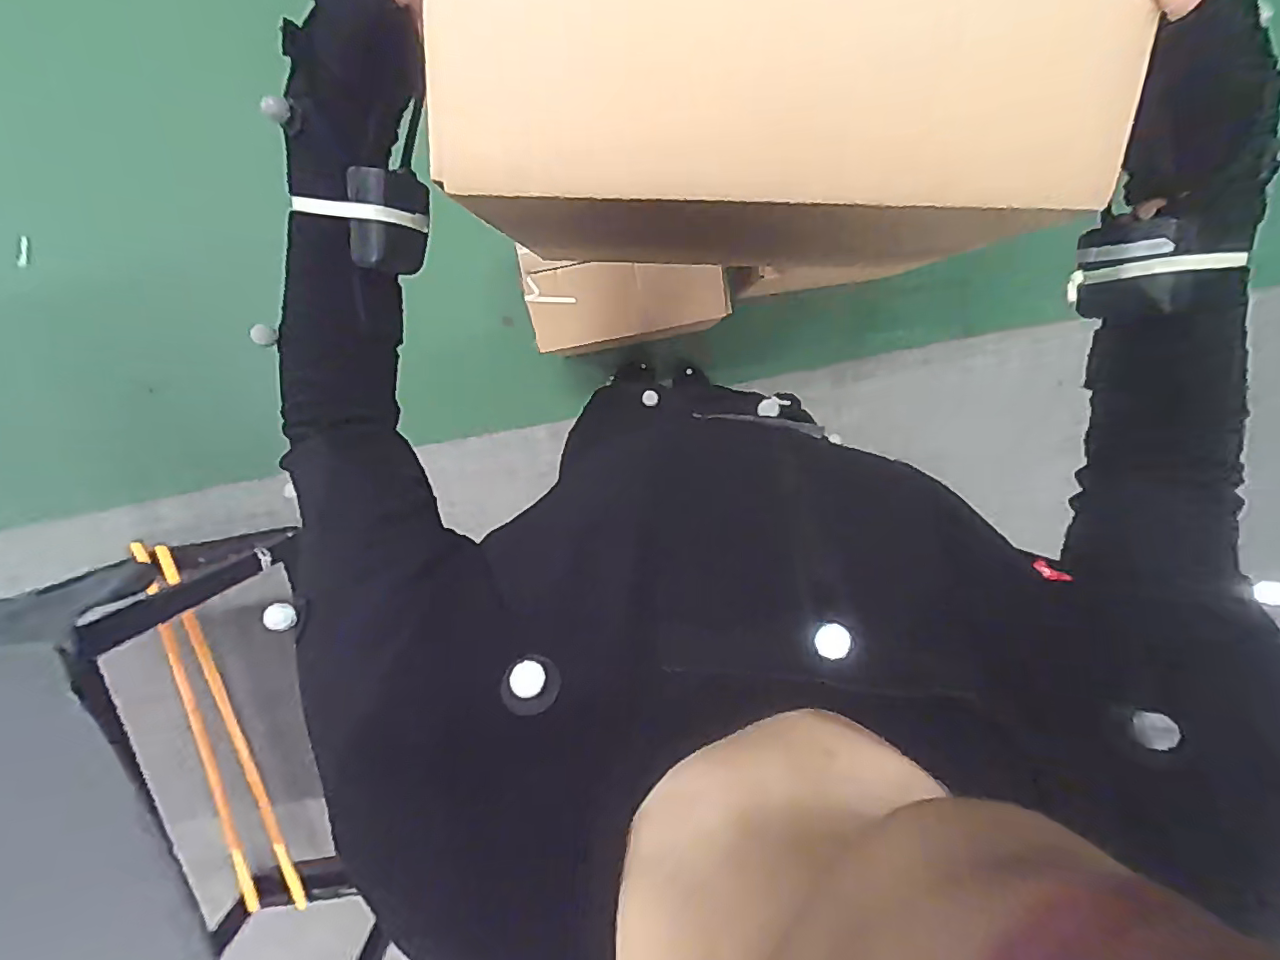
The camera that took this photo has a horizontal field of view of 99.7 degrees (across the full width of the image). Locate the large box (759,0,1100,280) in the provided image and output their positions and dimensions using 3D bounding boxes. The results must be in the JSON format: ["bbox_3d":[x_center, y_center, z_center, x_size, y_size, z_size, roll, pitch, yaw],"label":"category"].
[{"bbox_3d":[0.447,-0.553,0.914,0.408,0.320,0.320,-9,102,0],"label":"large box"}]
